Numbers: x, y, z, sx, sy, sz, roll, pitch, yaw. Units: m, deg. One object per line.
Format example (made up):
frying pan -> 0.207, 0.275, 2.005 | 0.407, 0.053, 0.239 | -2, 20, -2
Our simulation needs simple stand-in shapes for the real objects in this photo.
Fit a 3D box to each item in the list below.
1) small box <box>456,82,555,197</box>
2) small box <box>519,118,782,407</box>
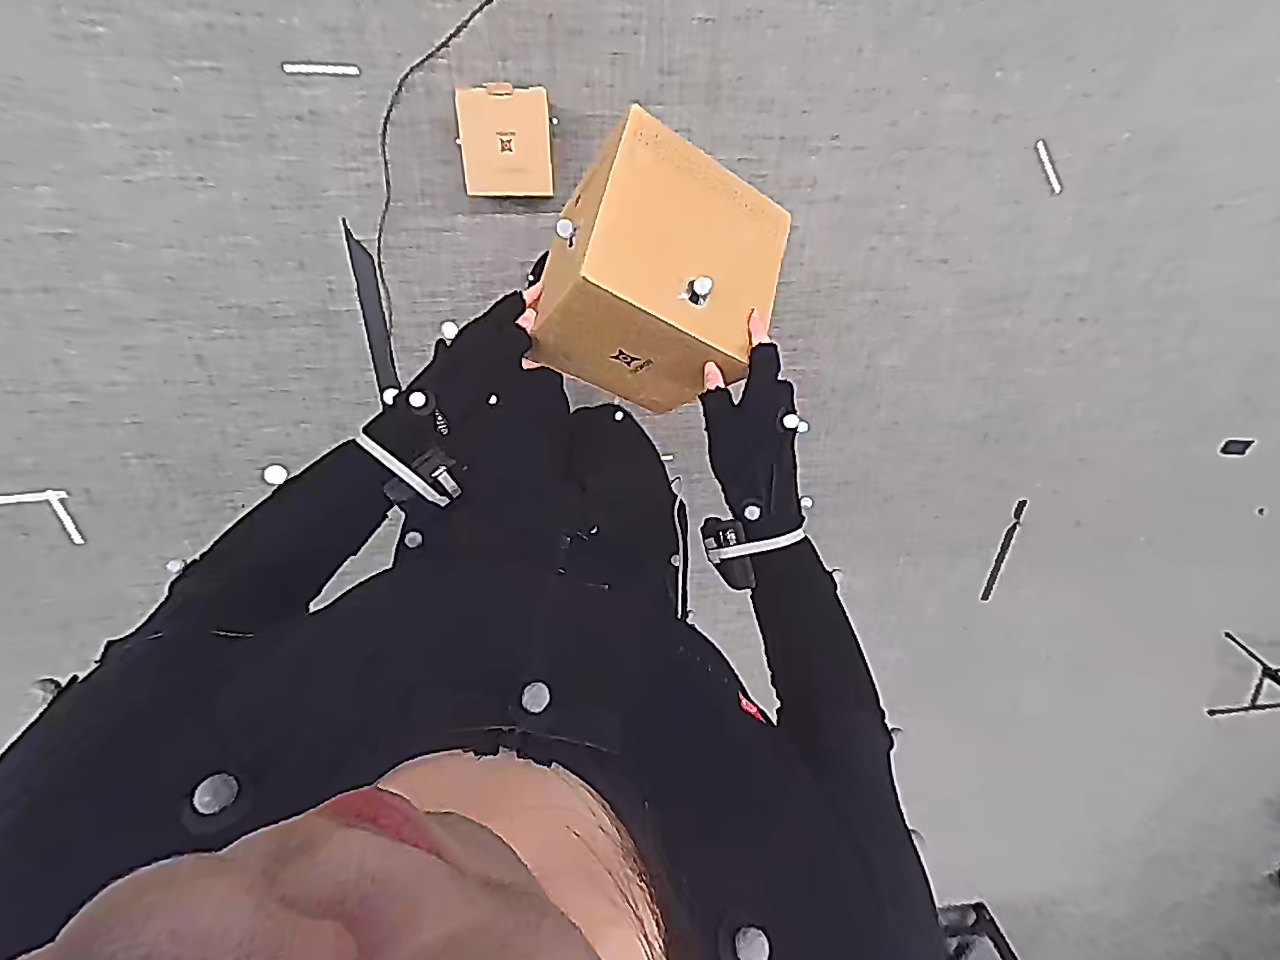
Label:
small box -> -0.257, -0.664, 1.072 | 0.168, 0.176, 0.179 | -2, 118, -5
small box -> 0.010, -0.195, 0.515 | 0.179, 0.168, 0.176 | 20, 73, -26
